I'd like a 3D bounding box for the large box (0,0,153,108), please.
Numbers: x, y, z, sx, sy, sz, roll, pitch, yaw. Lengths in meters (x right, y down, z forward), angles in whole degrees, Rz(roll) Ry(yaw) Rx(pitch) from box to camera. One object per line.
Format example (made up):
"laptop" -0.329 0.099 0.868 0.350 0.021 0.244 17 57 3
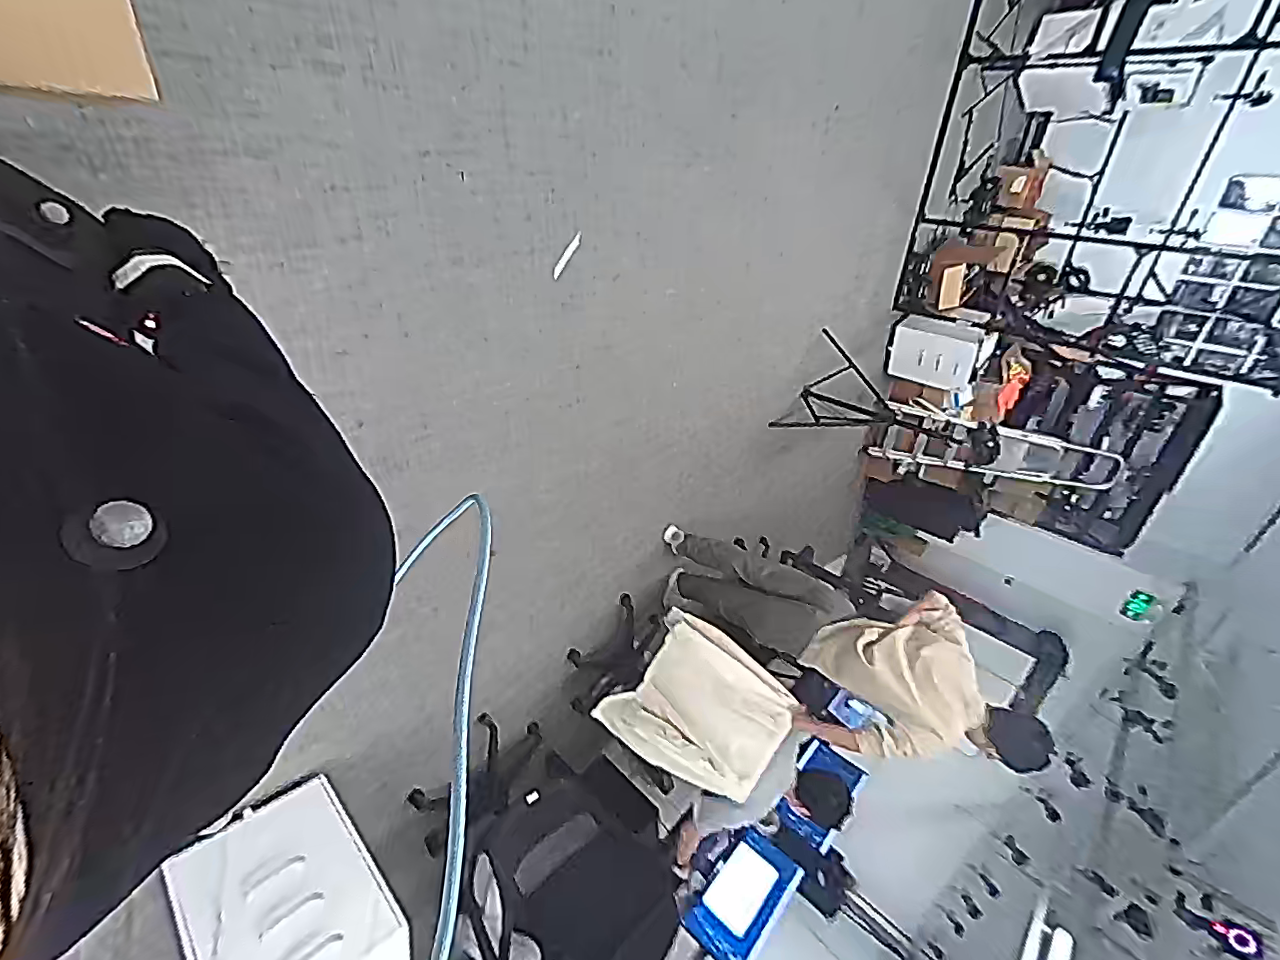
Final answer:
"large box" -0.894 -0.631 0.613 0.408 0.320 0.320 -26 131 -41
